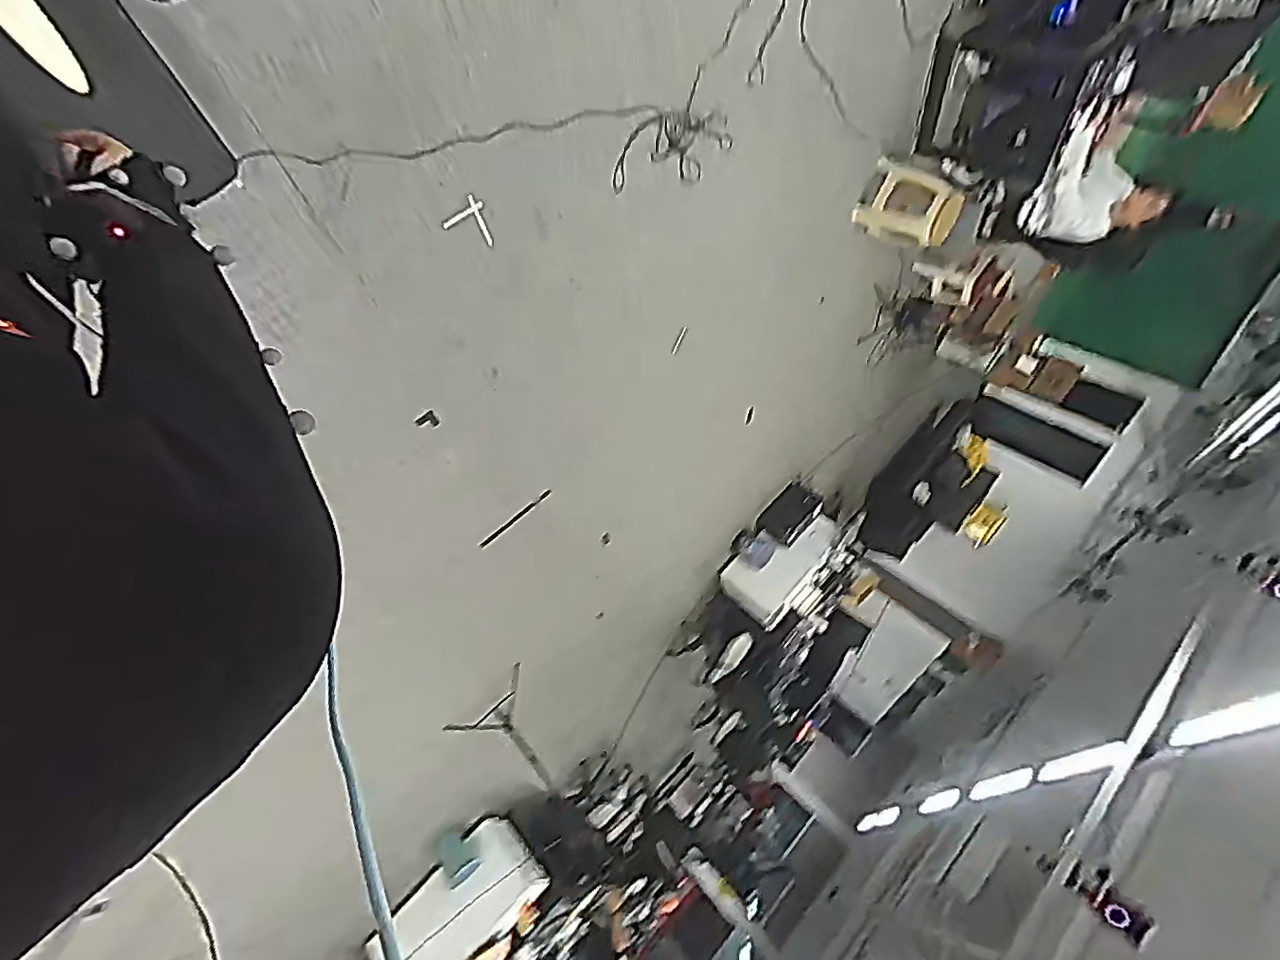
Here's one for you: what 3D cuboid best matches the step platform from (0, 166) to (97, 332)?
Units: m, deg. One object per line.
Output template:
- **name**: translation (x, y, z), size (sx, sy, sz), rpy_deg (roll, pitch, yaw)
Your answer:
- **step platform**: translation (-1.166, -0.523, 0.731), size (0.286, 0.204, 0.684), rpy_deg (-41, 145, -22)
